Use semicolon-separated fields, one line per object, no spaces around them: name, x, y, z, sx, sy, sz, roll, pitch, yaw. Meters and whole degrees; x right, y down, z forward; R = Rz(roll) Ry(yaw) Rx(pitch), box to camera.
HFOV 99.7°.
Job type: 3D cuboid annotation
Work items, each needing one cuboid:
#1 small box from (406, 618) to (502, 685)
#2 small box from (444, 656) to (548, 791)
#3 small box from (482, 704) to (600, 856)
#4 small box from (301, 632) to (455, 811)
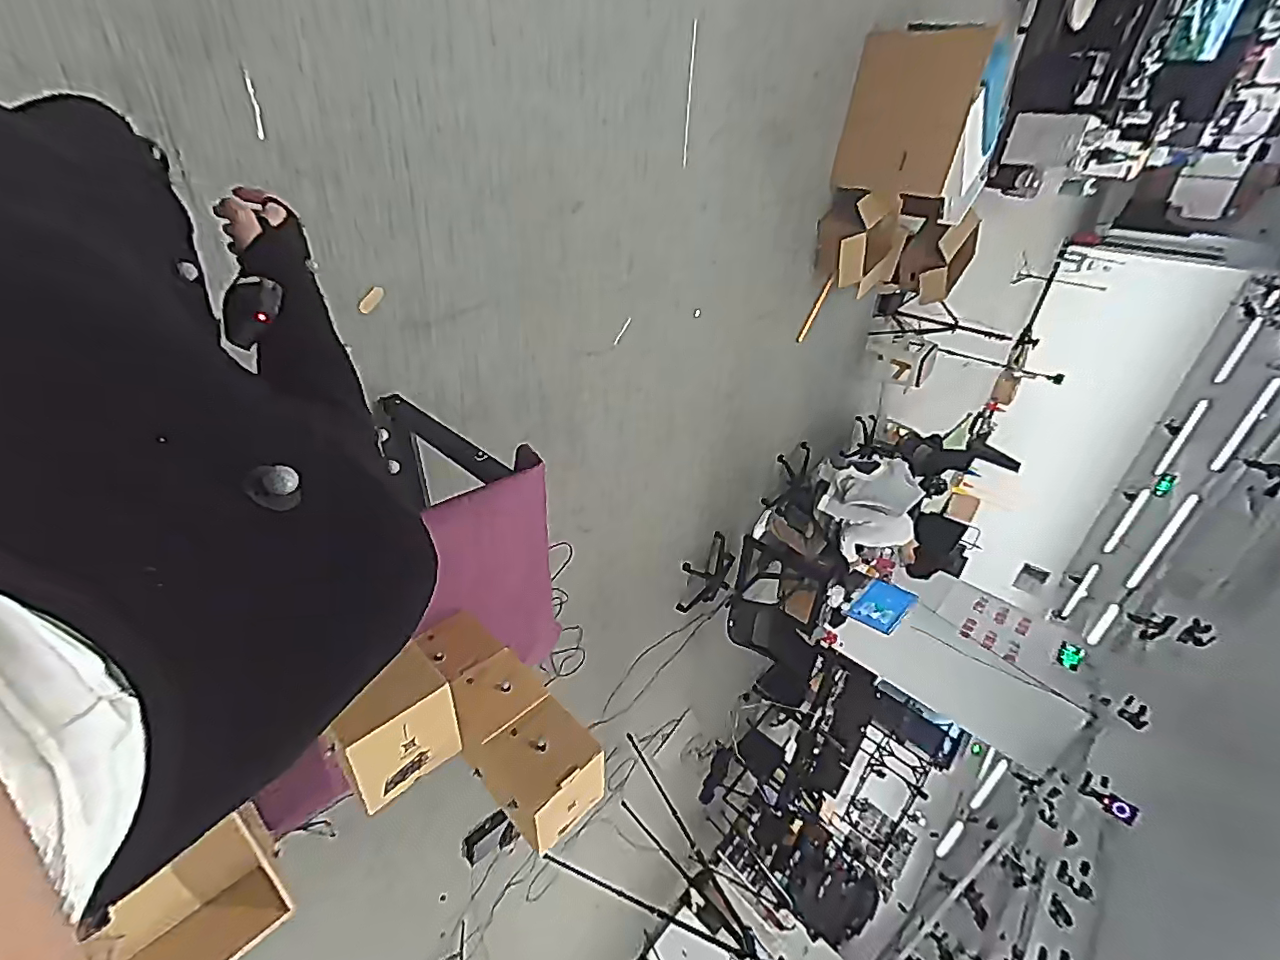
small box;-0.431;0.445;1.249;0.168;0.176;0.179;-26;133;-39
small box;-0.312;0.506;1.157;0.168;0.176;0.179;-27;134;-39
small box;-0.195;0.576;1.067;0.168;0.176;0.179;-27;133;-38
small box;-0.435;0.394;0.907;0.168;0.176;0.179;-27;133;-41
